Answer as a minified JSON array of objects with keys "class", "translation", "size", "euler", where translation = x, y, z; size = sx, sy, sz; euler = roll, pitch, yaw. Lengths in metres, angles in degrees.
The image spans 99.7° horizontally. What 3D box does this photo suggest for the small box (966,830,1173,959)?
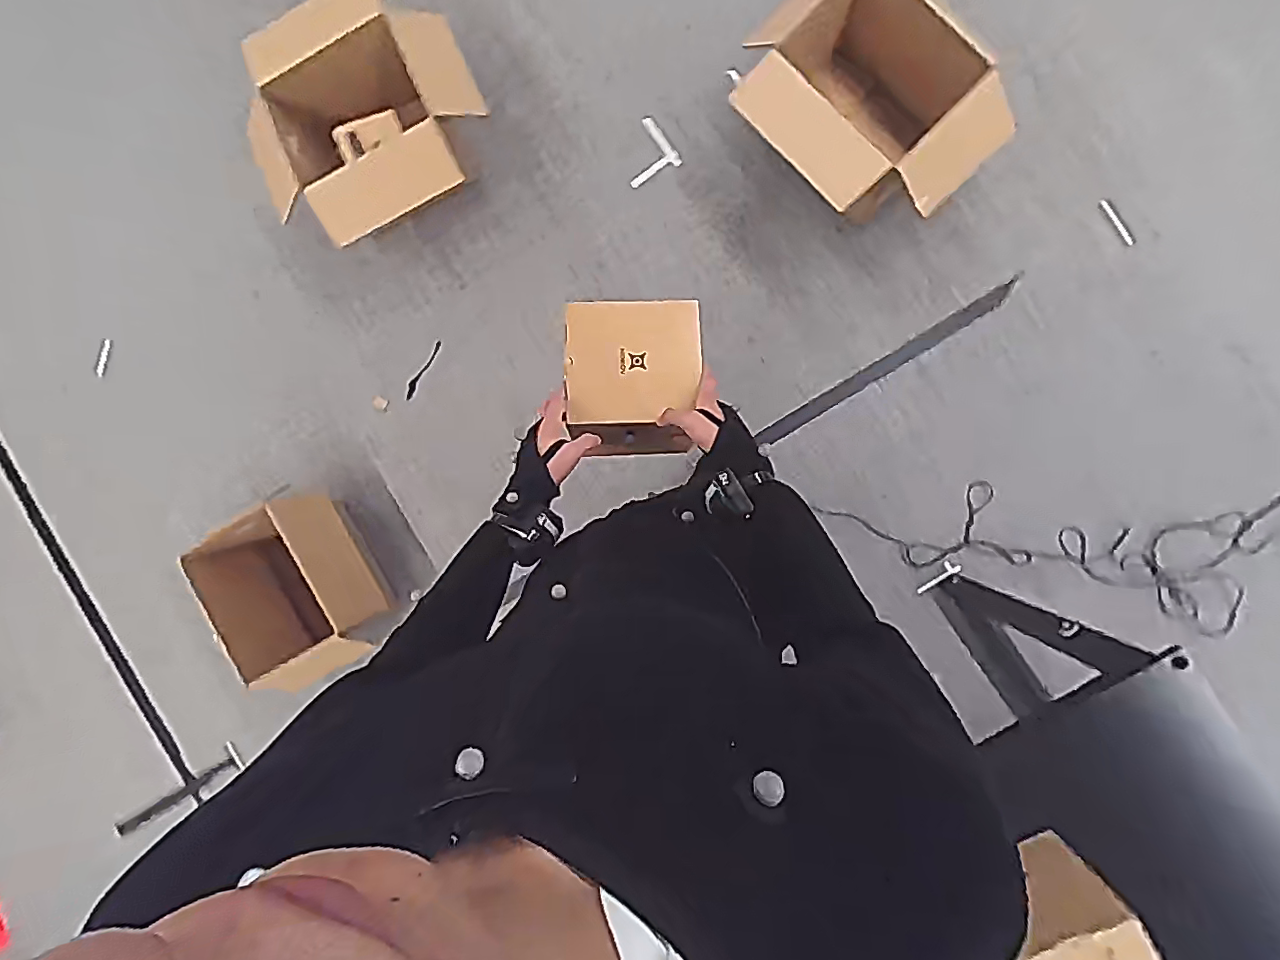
[{"class":"small box","translation":[0.606,0.646,0.757],"size":[0.168,0.176,0.179],"euler":[-28,88,6]}]
